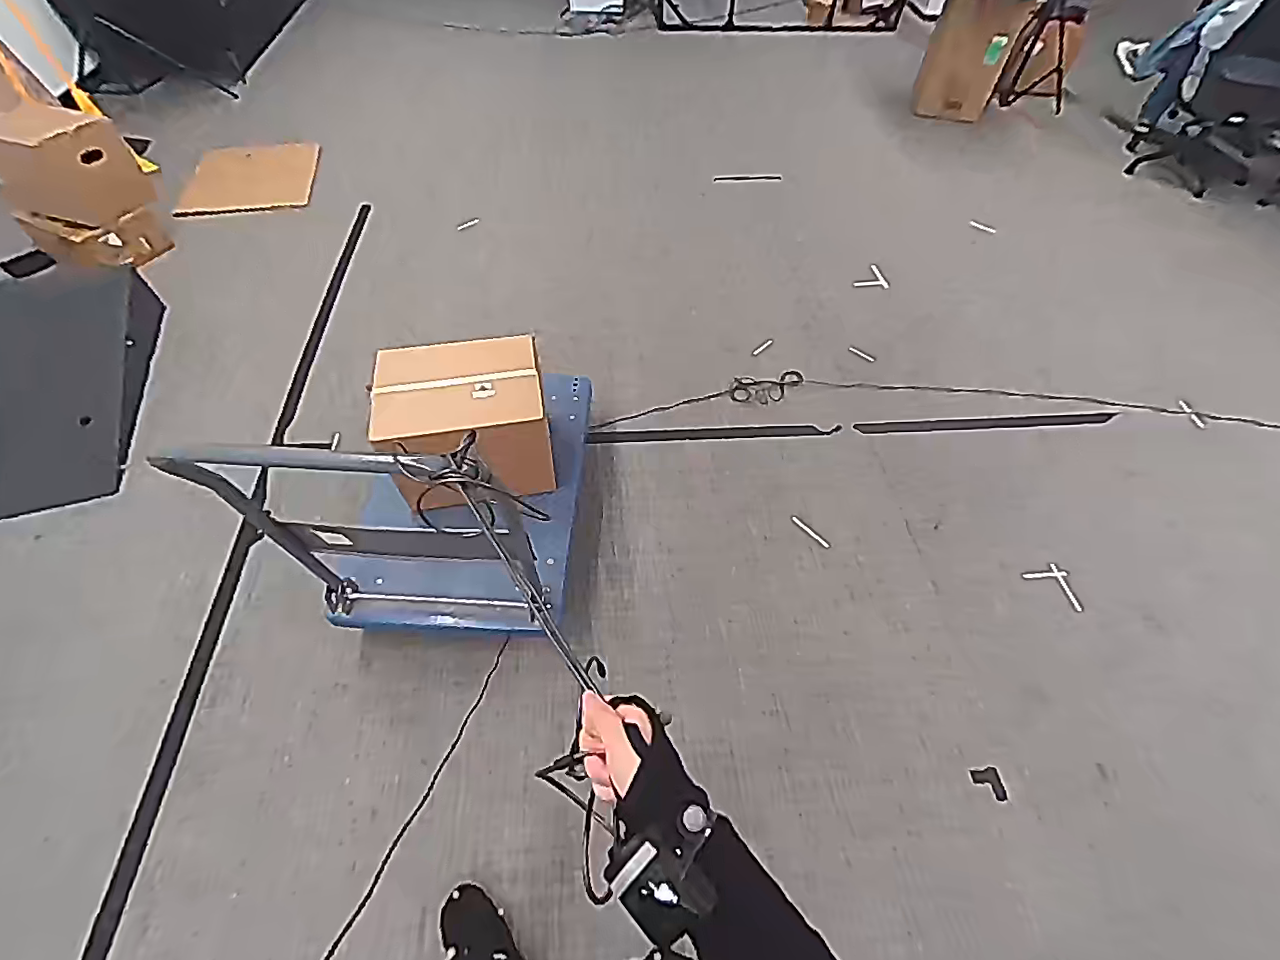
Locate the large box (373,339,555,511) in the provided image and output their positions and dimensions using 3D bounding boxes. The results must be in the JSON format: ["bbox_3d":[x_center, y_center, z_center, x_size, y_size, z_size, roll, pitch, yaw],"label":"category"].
[{"bbox_3d":[-0.459,-0.146,1.472,0.408,0.320,0.320,-8,56,-9],"label":"large box"}]
